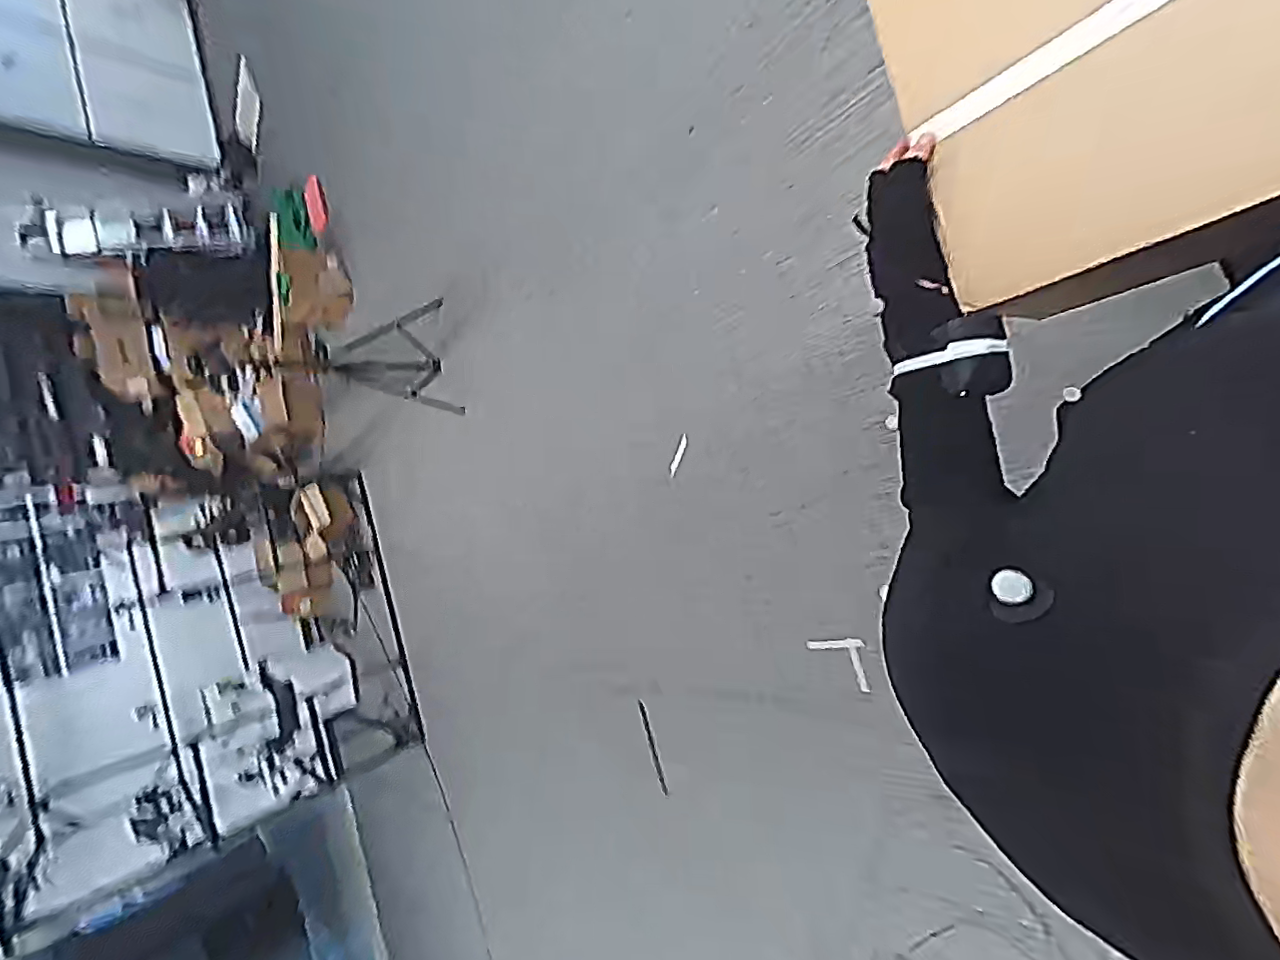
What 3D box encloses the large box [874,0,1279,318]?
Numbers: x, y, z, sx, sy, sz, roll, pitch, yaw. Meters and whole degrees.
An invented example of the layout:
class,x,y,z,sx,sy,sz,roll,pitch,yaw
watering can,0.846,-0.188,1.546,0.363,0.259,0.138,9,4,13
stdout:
class,x,y,z,sx,sy,sz,roll,pitch,yaw
large box,0.481,-0.365,0.443,0.408,0.320,0.320,-17,89,45
